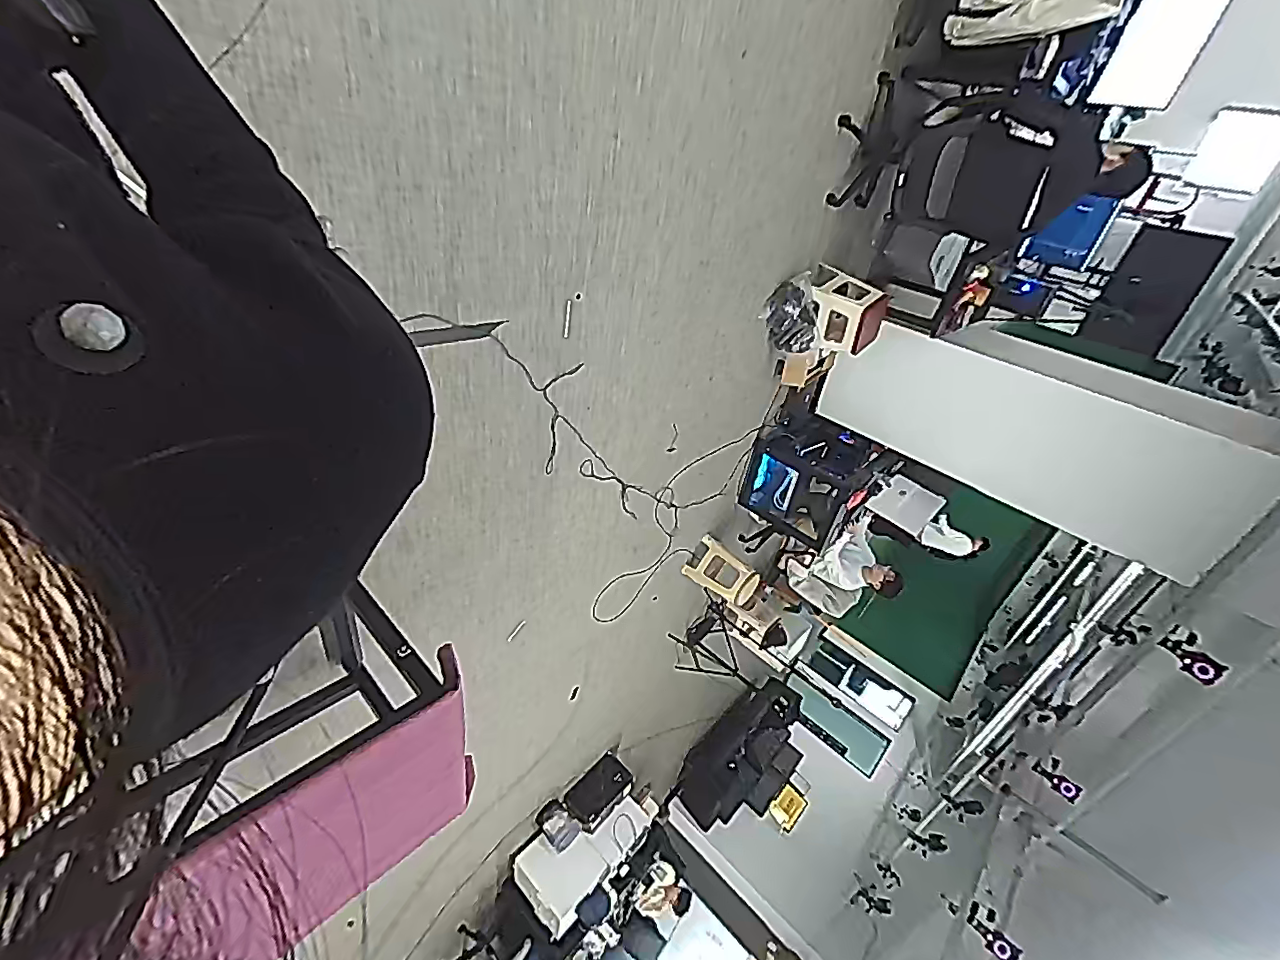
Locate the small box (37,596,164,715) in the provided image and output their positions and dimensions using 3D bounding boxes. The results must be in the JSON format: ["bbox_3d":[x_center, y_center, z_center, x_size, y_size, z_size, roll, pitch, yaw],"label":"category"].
[{"bbox_3d":[-1.309,0.419,1.316,0.168,0.176,0.179,-26,137,-42],"label":"small box"}]
